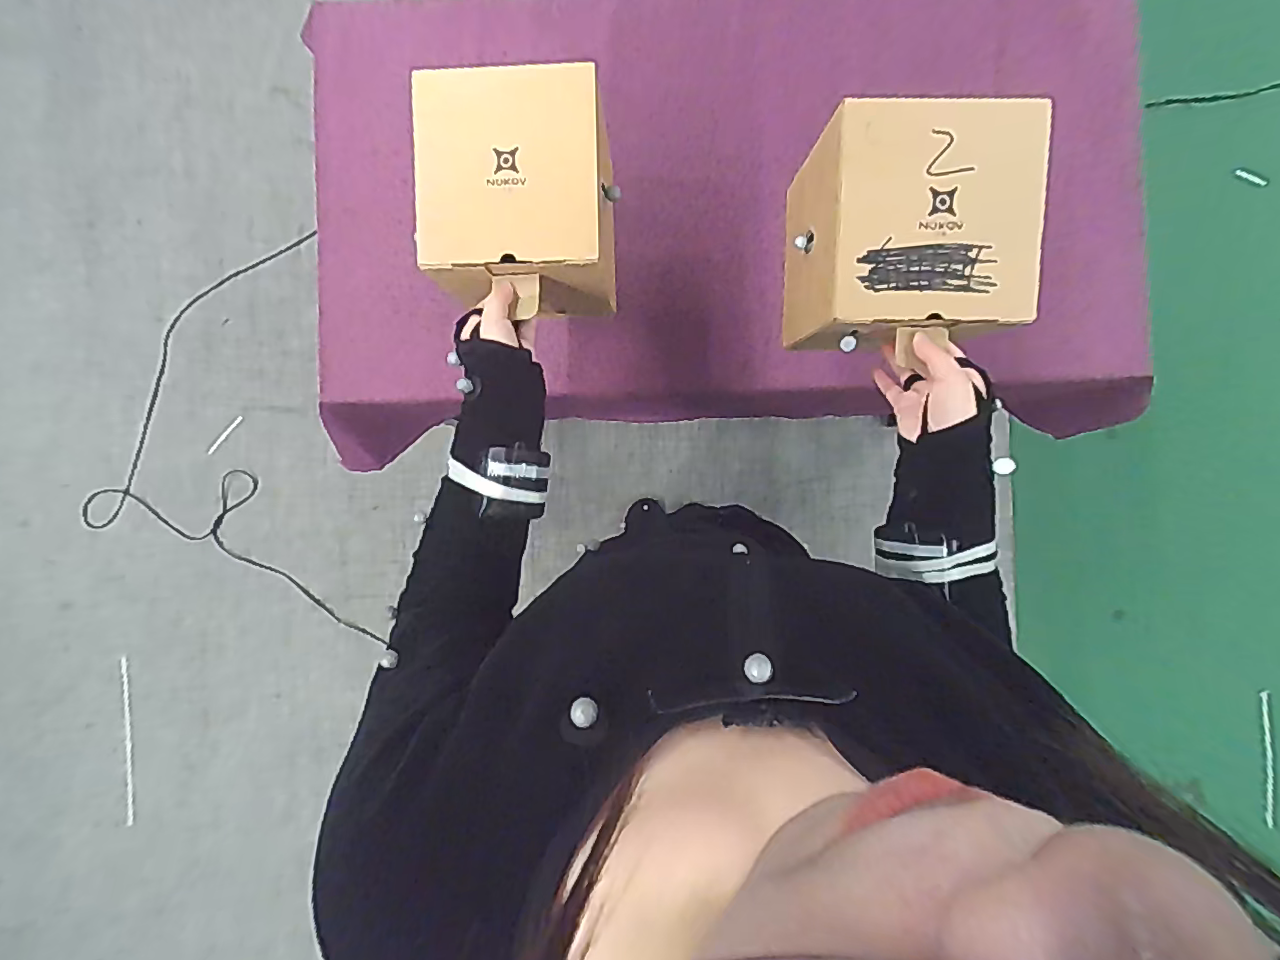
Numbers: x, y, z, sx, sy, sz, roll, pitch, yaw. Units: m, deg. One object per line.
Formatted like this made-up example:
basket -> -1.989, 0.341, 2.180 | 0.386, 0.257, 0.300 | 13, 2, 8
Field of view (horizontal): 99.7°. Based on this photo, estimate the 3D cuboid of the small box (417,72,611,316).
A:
small box -> -0.121, -0.286, 0.575 | 0.168, 0.176, 0.179 | -1, 92, 2
